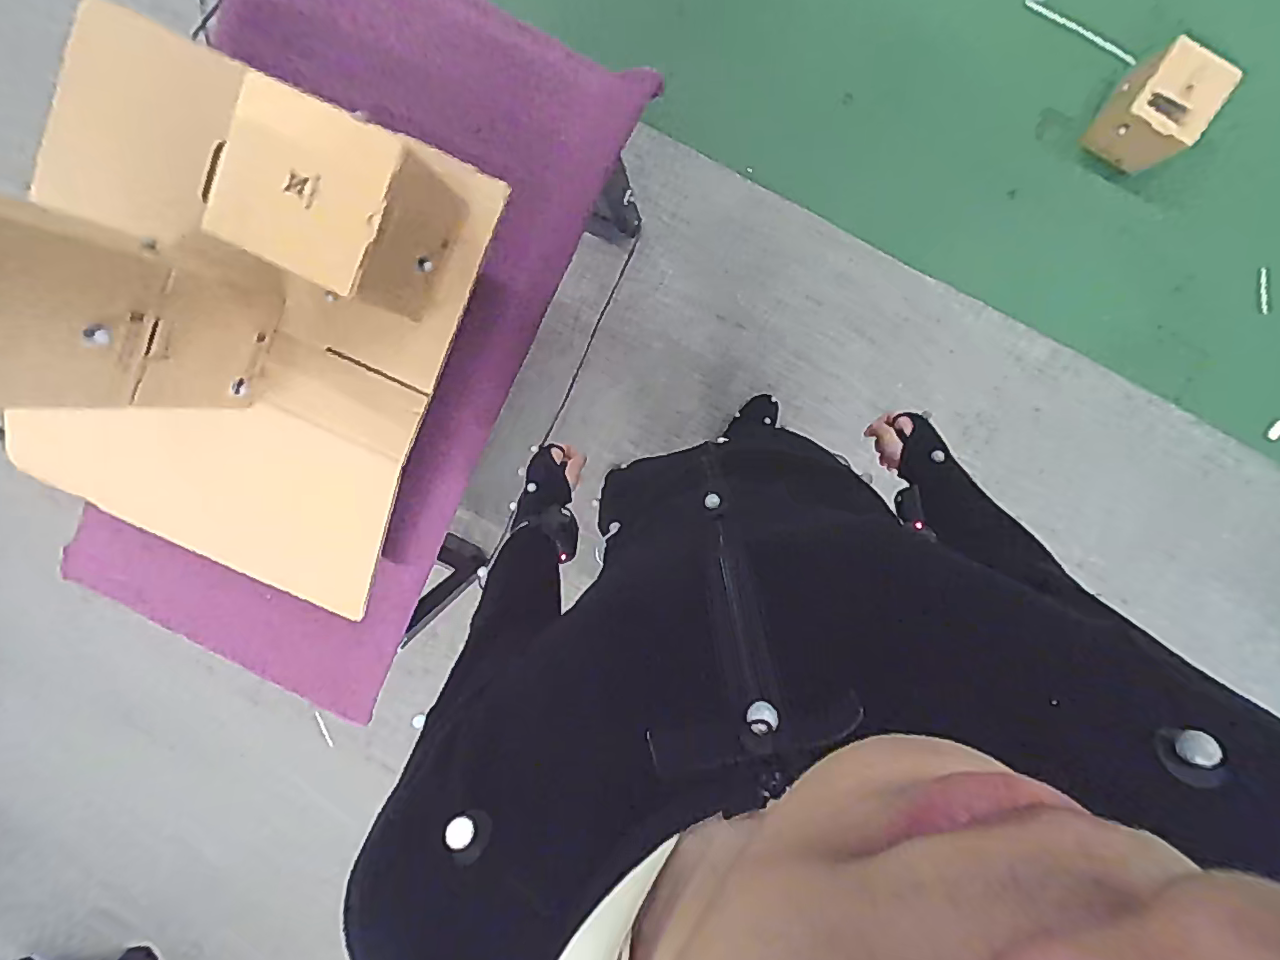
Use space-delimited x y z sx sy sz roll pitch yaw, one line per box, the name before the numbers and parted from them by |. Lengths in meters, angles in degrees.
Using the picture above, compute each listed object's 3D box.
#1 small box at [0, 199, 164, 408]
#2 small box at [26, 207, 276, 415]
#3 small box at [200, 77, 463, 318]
small box | -0.606 -0.170 0.492 0.179 0.176 0.168 24 98 0
small box | -0.593 -0.190 0.655 0.179 0.176 0.168 24 98 1
small box | -0.339 -0.303 0.625 0.179 0.176 0.168 24 99 0
